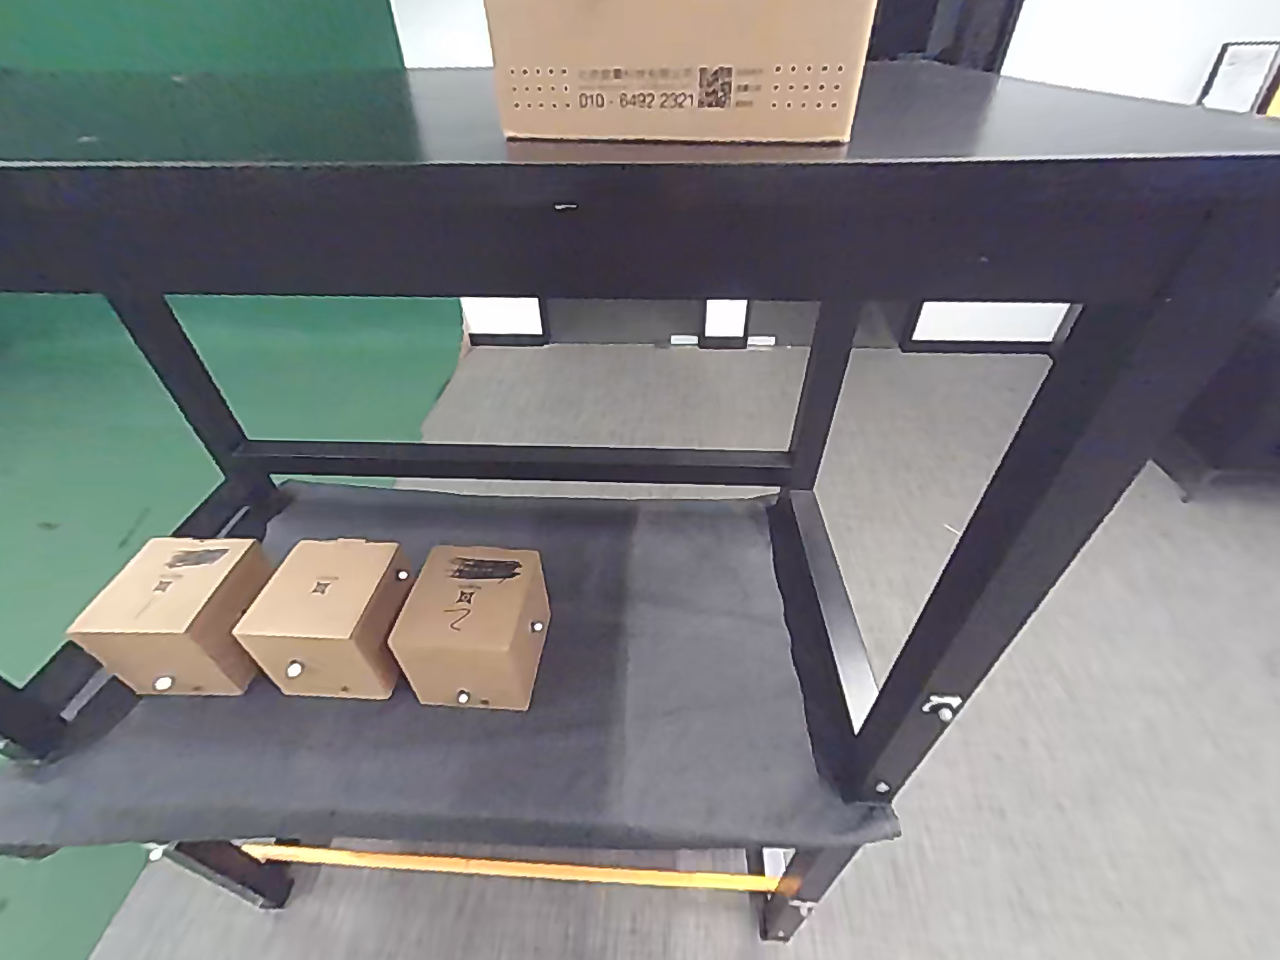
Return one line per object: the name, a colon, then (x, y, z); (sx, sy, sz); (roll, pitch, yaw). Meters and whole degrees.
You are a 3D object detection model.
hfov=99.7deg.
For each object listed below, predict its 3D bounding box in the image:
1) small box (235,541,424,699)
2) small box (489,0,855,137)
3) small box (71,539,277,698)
small box: (-0.455, 0.216, 0.833); (0.168, 0.176, 0.179); (2, 39, 3)
small box: (0.024, -0.280, 0.271); (0.168, 0.176, 0.179); (7, 40, 10)
small box: (-0.682, 0.212, 0.838); (0.168, 0.176, 0.179); (0, 40, 1)
